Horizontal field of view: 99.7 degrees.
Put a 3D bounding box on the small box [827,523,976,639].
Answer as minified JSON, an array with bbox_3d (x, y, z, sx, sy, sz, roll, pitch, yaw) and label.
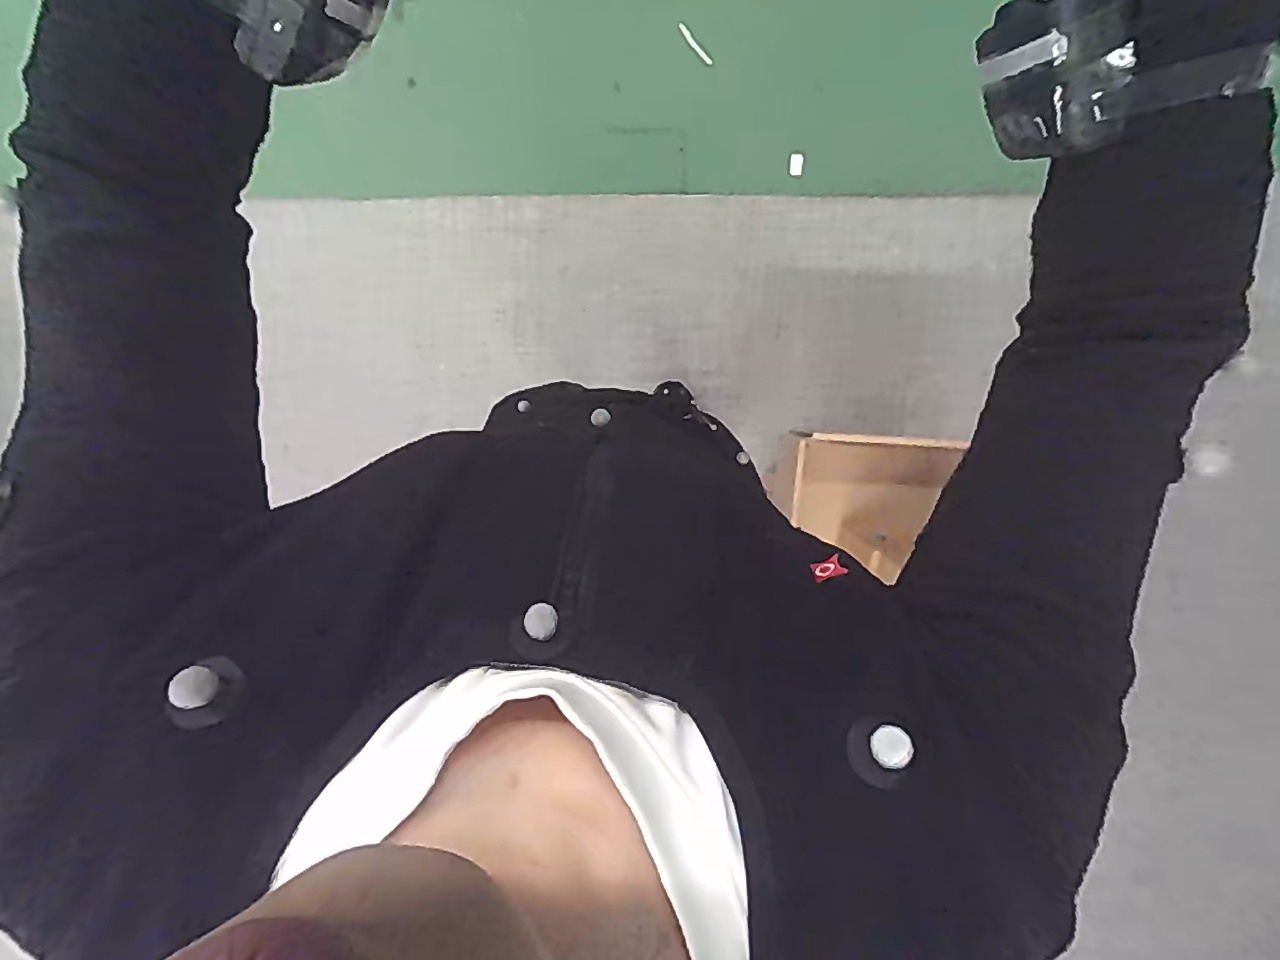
[{"bbox_3d":[0.456,0.182,0.975,0.179,0.176,0.168,6,101,-1],"label":"small box"}]
